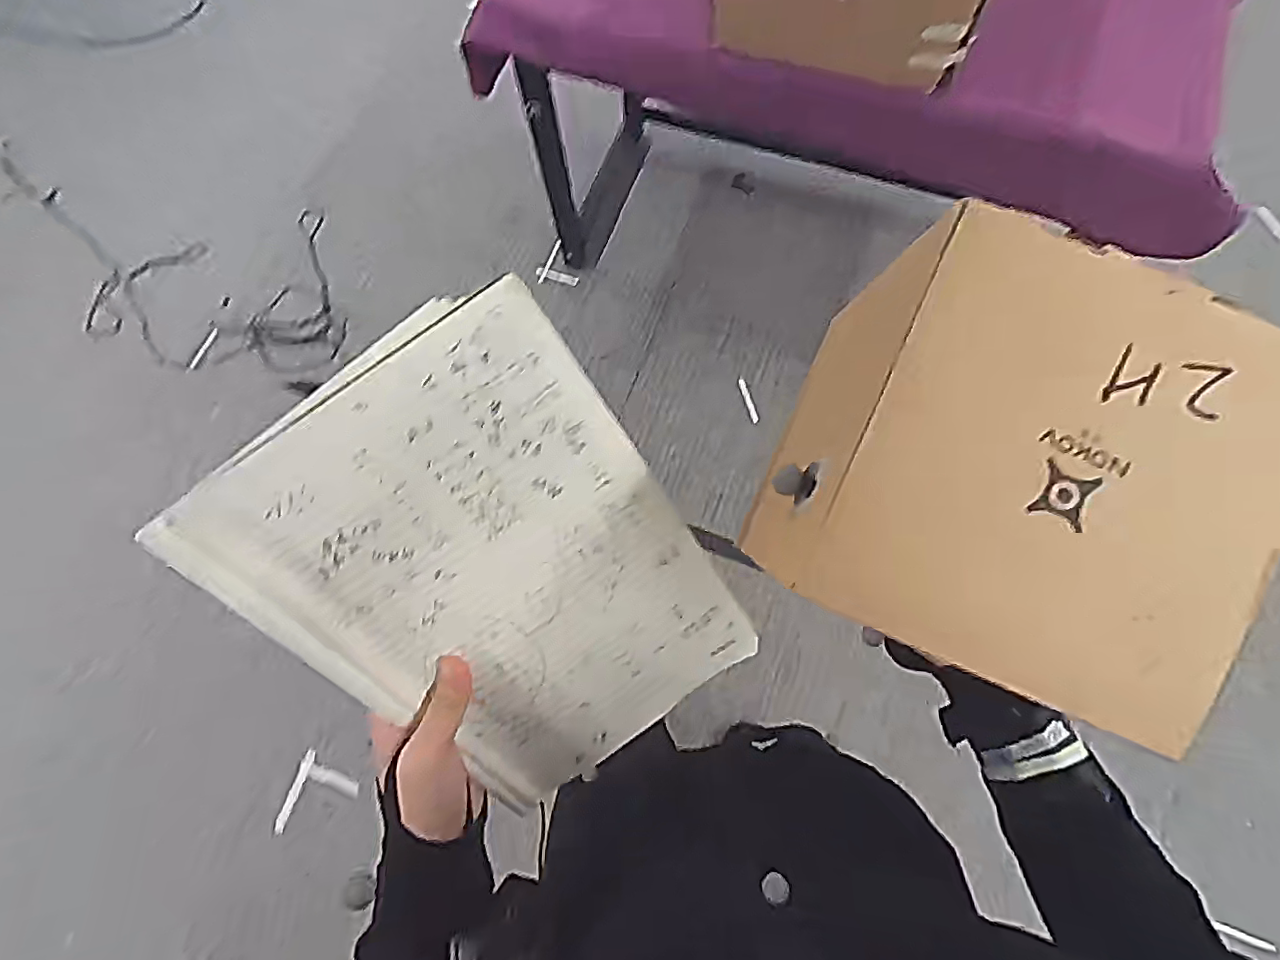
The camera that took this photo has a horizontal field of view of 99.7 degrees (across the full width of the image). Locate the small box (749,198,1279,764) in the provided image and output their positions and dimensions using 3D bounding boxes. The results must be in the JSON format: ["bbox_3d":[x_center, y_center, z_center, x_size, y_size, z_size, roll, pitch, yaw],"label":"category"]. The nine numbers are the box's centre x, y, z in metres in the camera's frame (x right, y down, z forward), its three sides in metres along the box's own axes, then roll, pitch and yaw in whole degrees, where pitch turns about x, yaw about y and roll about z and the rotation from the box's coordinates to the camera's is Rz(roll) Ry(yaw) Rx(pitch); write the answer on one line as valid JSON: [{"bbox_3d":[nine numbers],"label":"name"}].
[{"bbox_3d":[0.170,0.000,0.290,0.168,0.176,0.179,24,90,1],"label":"small box"}]
